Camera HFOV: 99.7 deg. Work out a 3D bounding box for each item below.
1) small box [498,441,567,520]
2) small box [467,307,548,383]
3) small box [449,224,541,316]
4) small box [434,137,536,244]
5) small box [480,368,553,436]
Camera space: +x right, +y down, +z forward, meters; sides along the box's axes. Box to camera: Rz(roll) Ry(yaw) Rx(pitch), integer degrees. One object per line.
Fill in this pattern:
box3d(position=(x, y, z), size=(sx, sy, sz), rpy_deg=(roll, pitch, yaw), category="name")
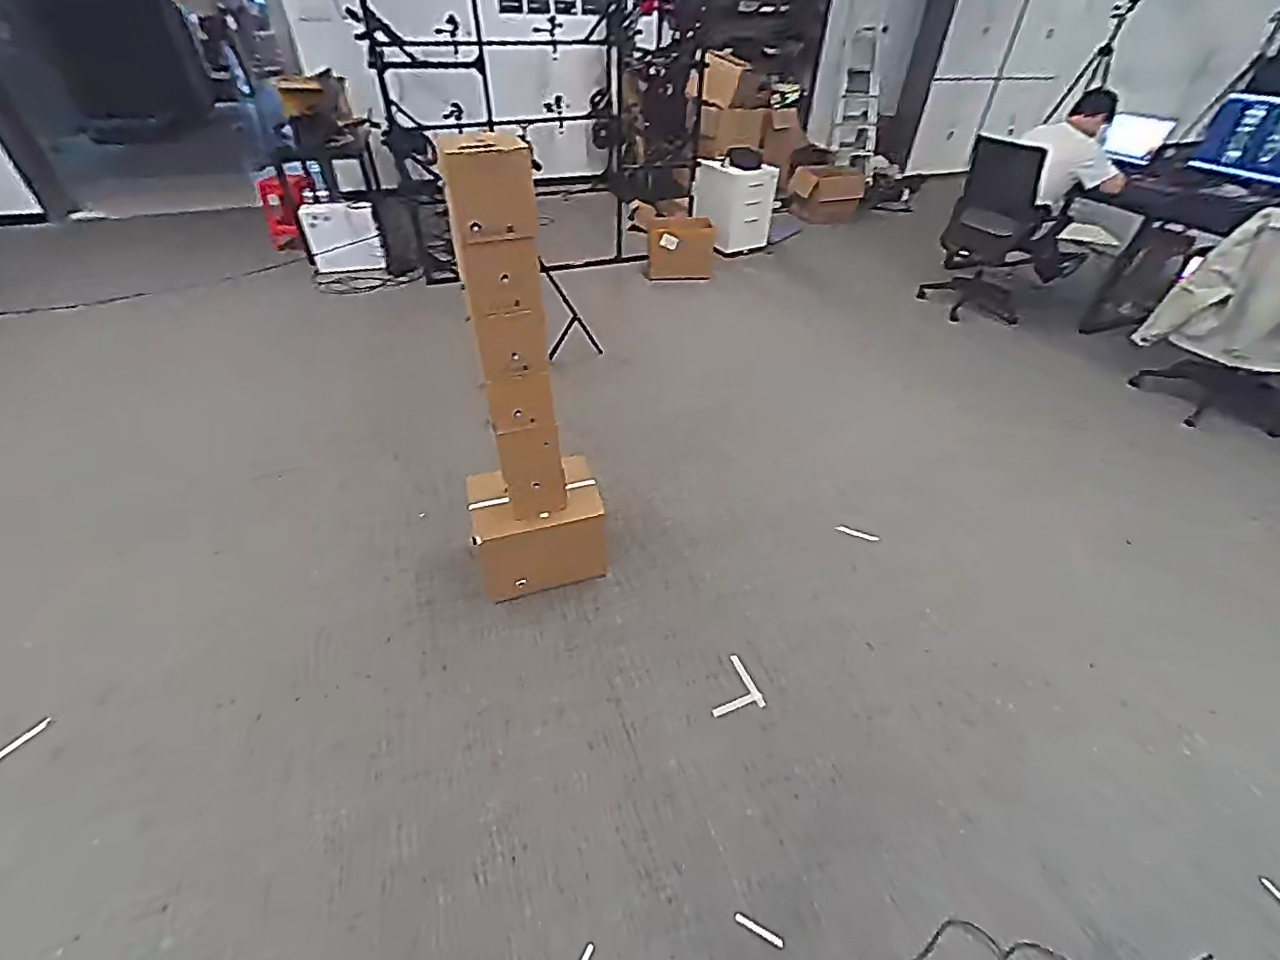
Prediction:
box3d(position=(-0.334, 0.005, 1.691), size=(0.179, 0.176, 0.168), rpy_deg=(-13, 44, -17), category="small box")
box3d(position=(-0.338, -0.370, 1.374), size=(0.168, 0.176, 0.179), rpy_deg=(-14, 45, -17), category="small box")
box3d(position=(-0.336, -0.496, 1.269), size=(0.168, 0.176, 0.179), rpy_deg=(-14, 45, -18), category="small box")
box3d(position=(-0.326, -0.613, 1.153), size=(0.168, 0.176, 0.179), rpy_deg=(-15, 44, -17), category="small box")
box3d(position=(-0.340, -0.245, 1.481), size=(0.168, 0.176, 0.179), rpy_deg=(-13, 44, -16), category="small box")
